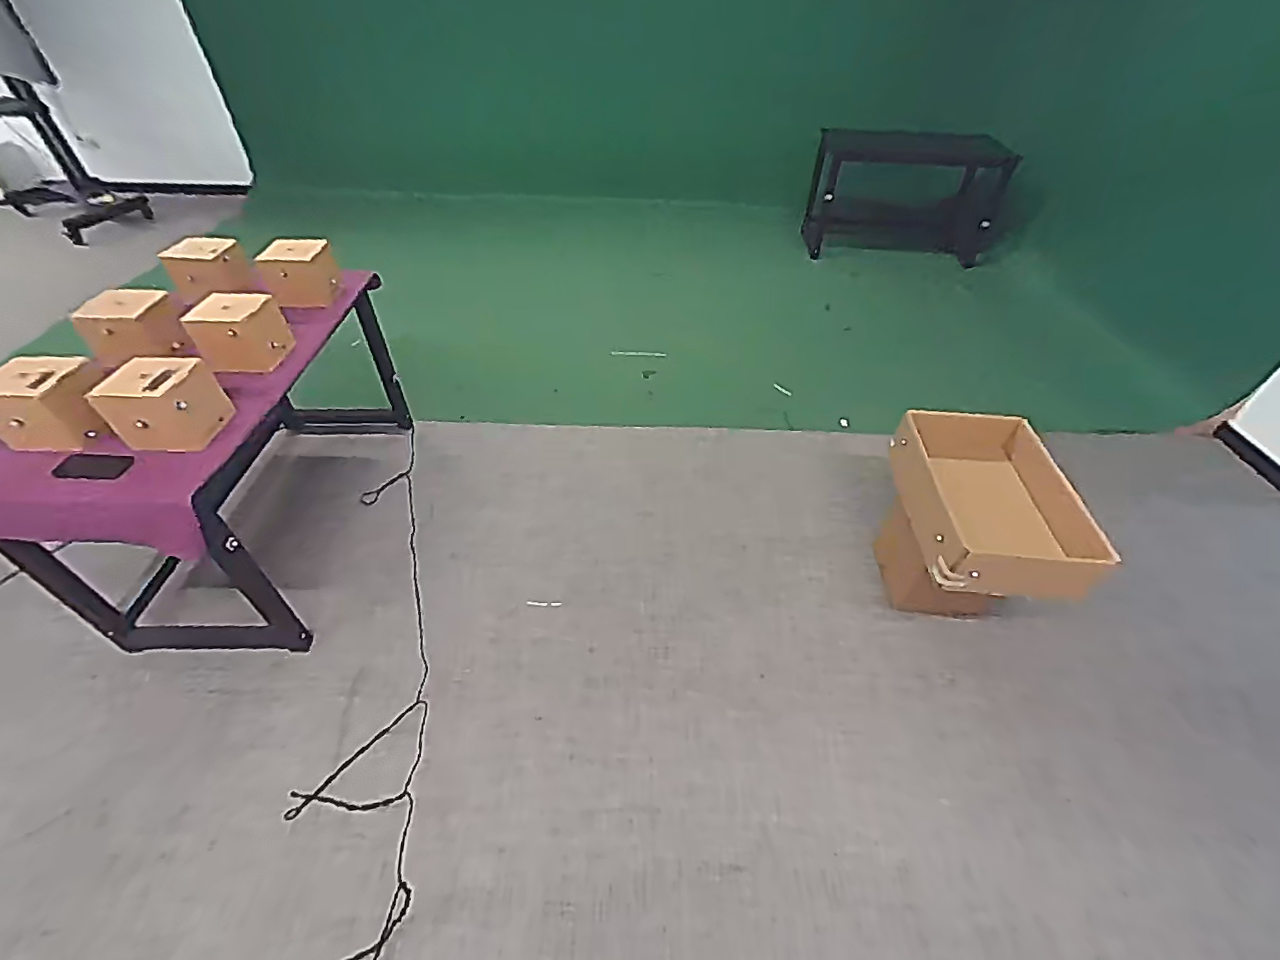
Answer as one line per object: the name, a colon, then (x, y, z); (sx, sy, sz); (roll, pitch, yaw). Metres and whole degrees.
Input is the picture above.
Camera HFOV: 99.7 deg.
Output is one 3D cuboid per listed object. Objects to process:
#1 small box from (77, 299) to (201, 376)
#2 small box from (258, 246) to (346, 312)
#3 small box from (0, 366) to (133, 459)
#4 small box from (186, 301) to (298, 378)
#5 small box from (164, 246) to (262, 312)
small box: (-1.471, -0.421, 1.602); (0.179, 0.176, 0.168); (0, 45, -2)
small box: (-1.164, -0.696, 1.877); (0.179, 0.176, 0.168); (0, 46, -2)
small box: (-1.439, -0.166, 1.342); (0.179, 0.176, 0.168); (-1, 44, -1)
small box: (-1.164, -0.414, 1.598); (0.179, 0.176, 0.168); (1, 44, 1)
small box: (-1.474, -0.695, 1.878); (0.179, 0.176, 0.168); (1, 45, 0)
